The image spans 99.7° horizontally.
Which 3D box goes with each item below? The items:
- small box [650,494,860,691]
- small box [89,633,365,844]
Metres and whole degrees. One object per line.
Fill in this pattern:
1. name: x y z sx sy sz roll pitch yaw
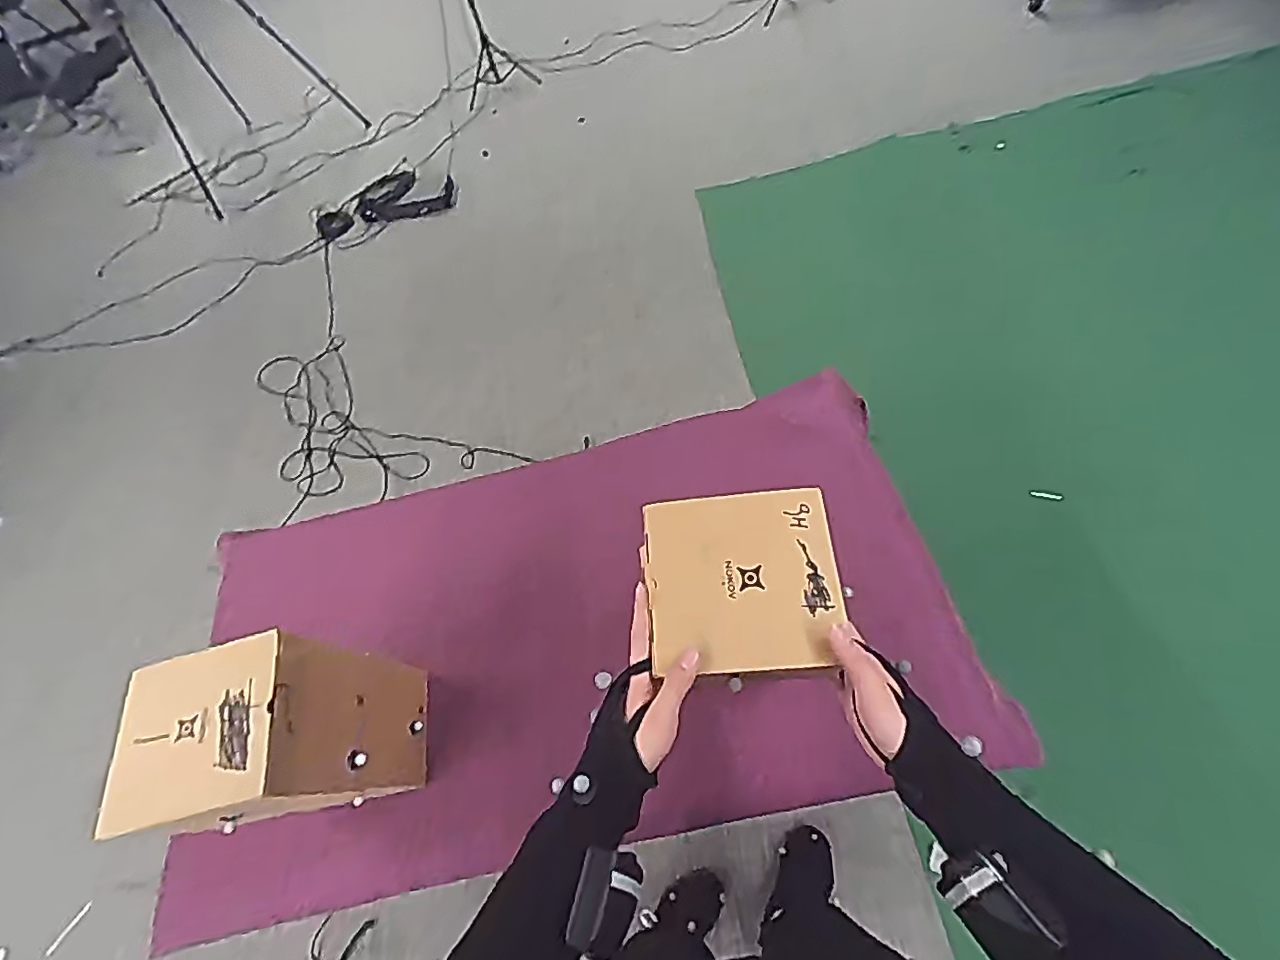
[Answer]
1. small box: 0.110 0.127 0.568 0.179 0.176 0.168 -5 66 6
2. small box: -0.439 0.289 0.613 0.179 0.176 0.168 -15 60 1
